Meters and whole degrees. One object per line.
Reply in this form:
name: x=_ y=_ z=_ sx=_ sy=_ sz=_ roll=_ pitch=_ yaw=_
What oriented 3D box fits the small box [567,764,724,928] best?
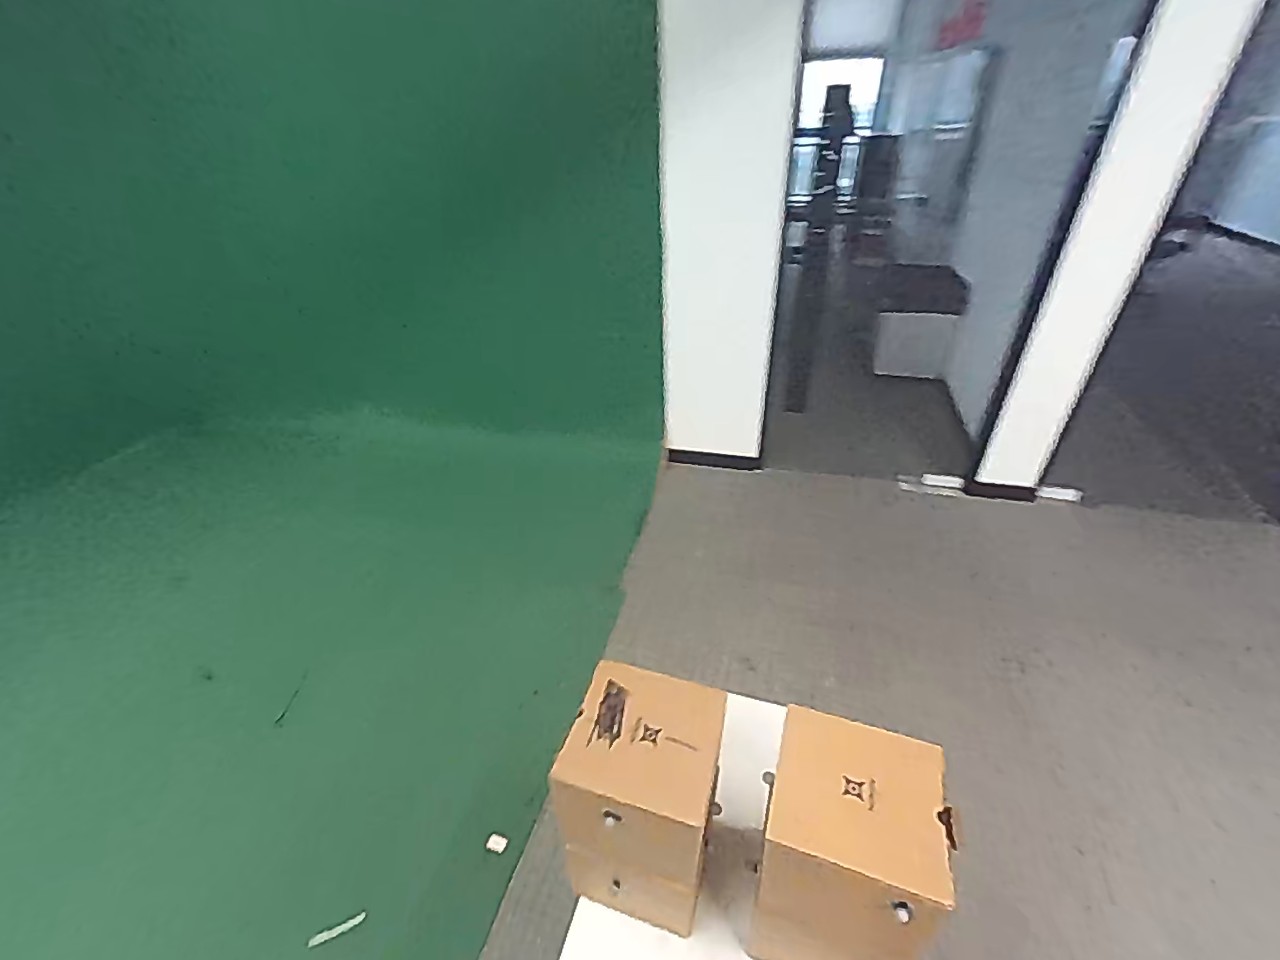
small box: x=0.013 y=0.500 z=0.780 sx=0.179 sy=0.176 sz=0.168 roll=11 pitch=38 yaw=15

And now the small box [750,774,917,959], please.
small box: x=0.249 y=0.535 z=0.717 sx=0.179 sy=0.176 sz=0.168 roll=8 pitch=36 yaw=17

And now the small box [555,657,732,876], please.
small box: x=0.011 y=0.362 z=0.687 sx=0.179 sy=0.176 sz=0.168 roll=11 pitch=37 yaw=14
